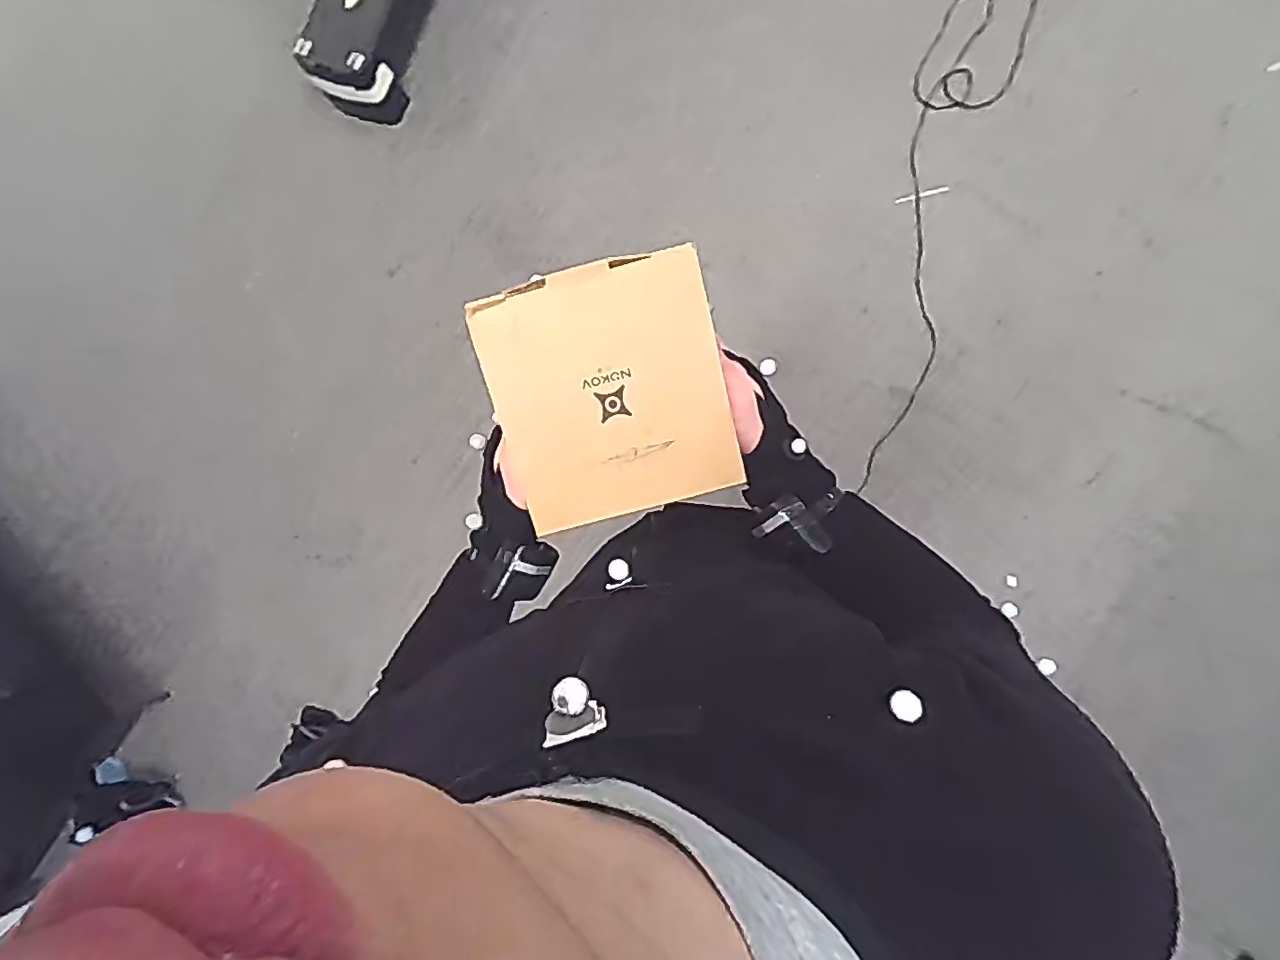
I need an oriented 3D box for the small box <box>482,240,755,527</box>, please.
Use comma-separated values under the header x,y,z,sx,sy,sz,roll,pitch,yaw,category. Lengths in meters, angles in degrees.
x,y,z,sx,sy,sz,roll,pitch,yaw,category
-0.014,-0.083,0.462,0.168,0.176,0.179,-14,106,2,small box
